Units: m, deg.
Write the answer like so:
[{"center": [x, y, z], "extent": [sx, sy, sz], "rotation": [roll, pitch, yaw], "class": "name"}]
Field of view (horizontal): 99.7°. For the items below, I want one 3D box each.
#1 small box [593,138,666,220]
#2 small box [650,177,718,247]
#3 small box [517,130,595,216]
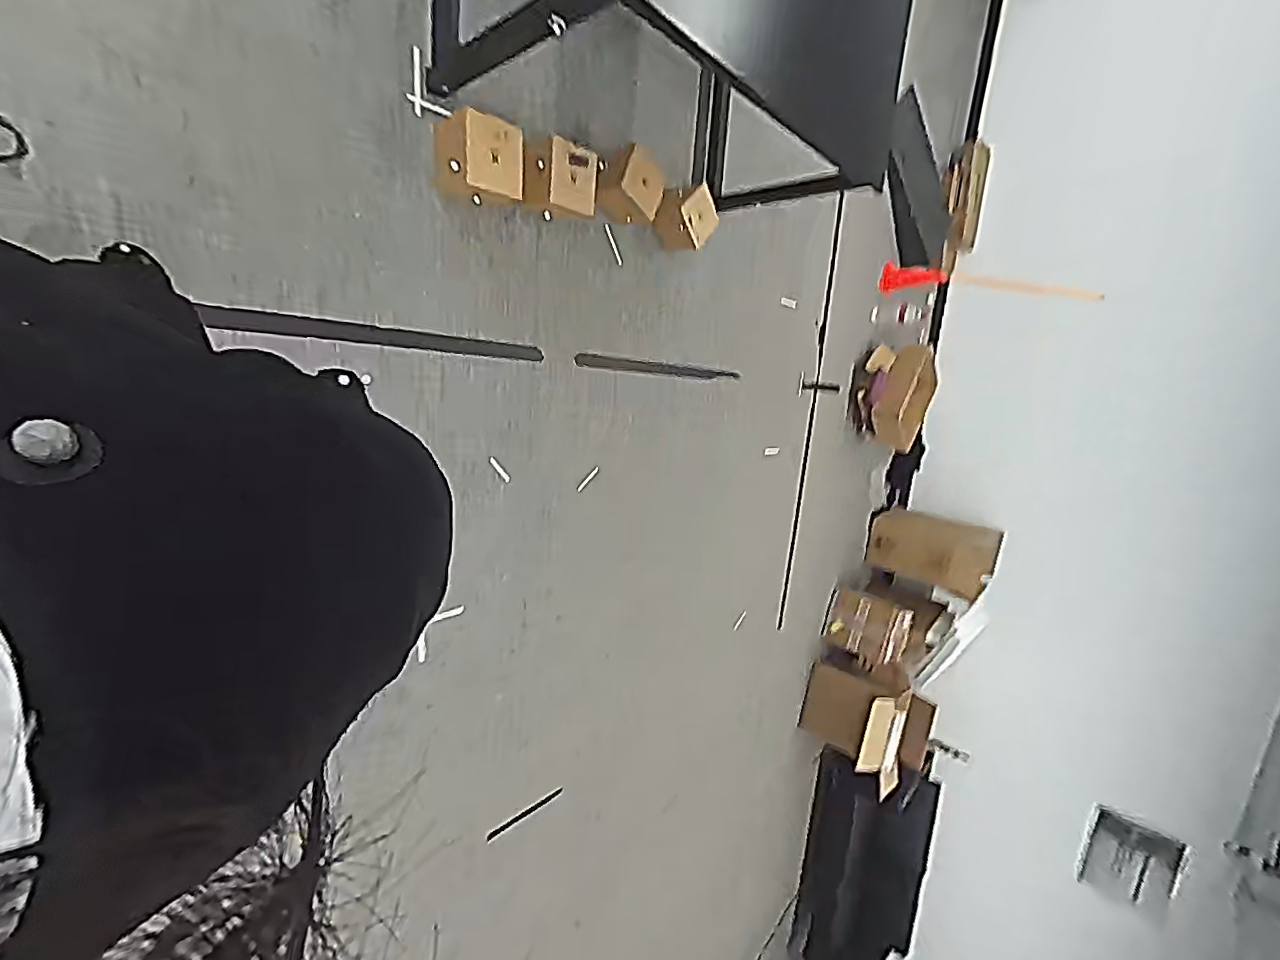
[{"center": [-0.047, -1.005, 1.824], "extent": [0.179, 0.176, 0.168], "rotation": [23, 84, -47], "class": "small box"}, {"center": [0.162, -1.009, 2.043], "extent": [0.179, 0.176, 0.168], "rotation": [-55, 134, -20], "class": "small box"}, {"center": [-0.256, -0.913, 1.626], "extent": [0.168, 0.176, 0.179], "rotation": [-9, 109, -45], "class": "small box"}]
